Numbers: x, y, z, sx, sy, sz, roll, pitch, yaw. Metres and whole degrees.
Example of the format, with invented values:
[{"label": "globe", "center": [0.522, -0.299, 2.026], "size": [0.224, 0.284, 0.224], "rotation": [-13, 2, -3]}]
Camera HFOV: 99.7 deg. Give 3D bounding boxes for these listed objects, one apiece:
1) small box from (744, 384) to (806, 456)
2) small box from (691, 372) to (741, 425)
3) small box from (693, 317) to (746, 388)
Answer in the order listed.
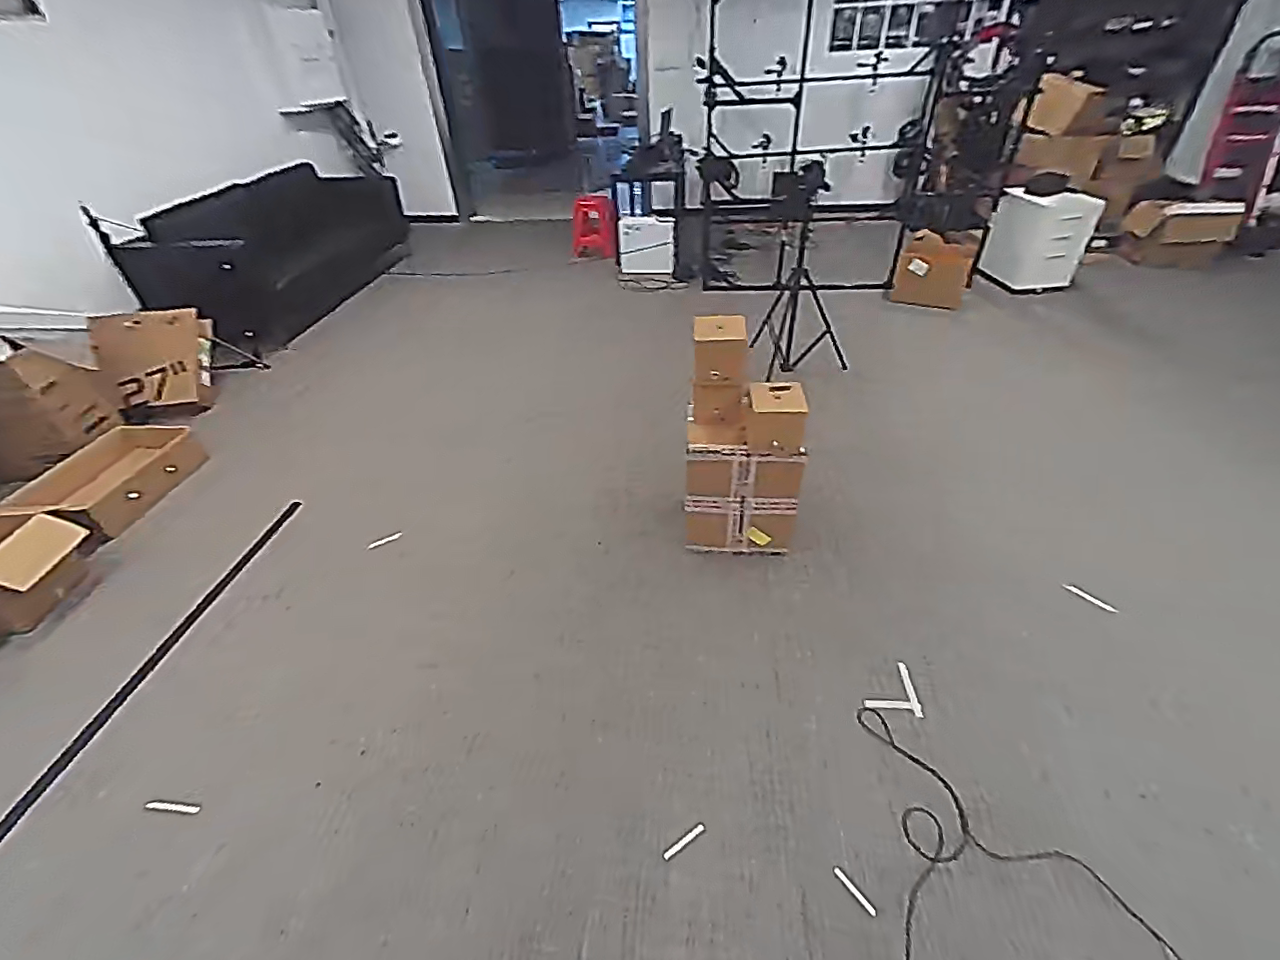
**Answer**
[{"label": "small box", "center": [0.433, -0.198, 1.763], "size": [0.168, 0.176, 0.179], "rotation": [0, 42, 4]}, {"label": "small box", "center": [0.266, -0.312, 1.912], "size": [0.168, 0.176, 0.179], "rotation": [0, 41, 7]}, {"label": "small box", "center": [0.259, -0.422, 1.790], "size": [0.168, 0.176, 0.179], "rotation": [-1, 42, 7]}]
